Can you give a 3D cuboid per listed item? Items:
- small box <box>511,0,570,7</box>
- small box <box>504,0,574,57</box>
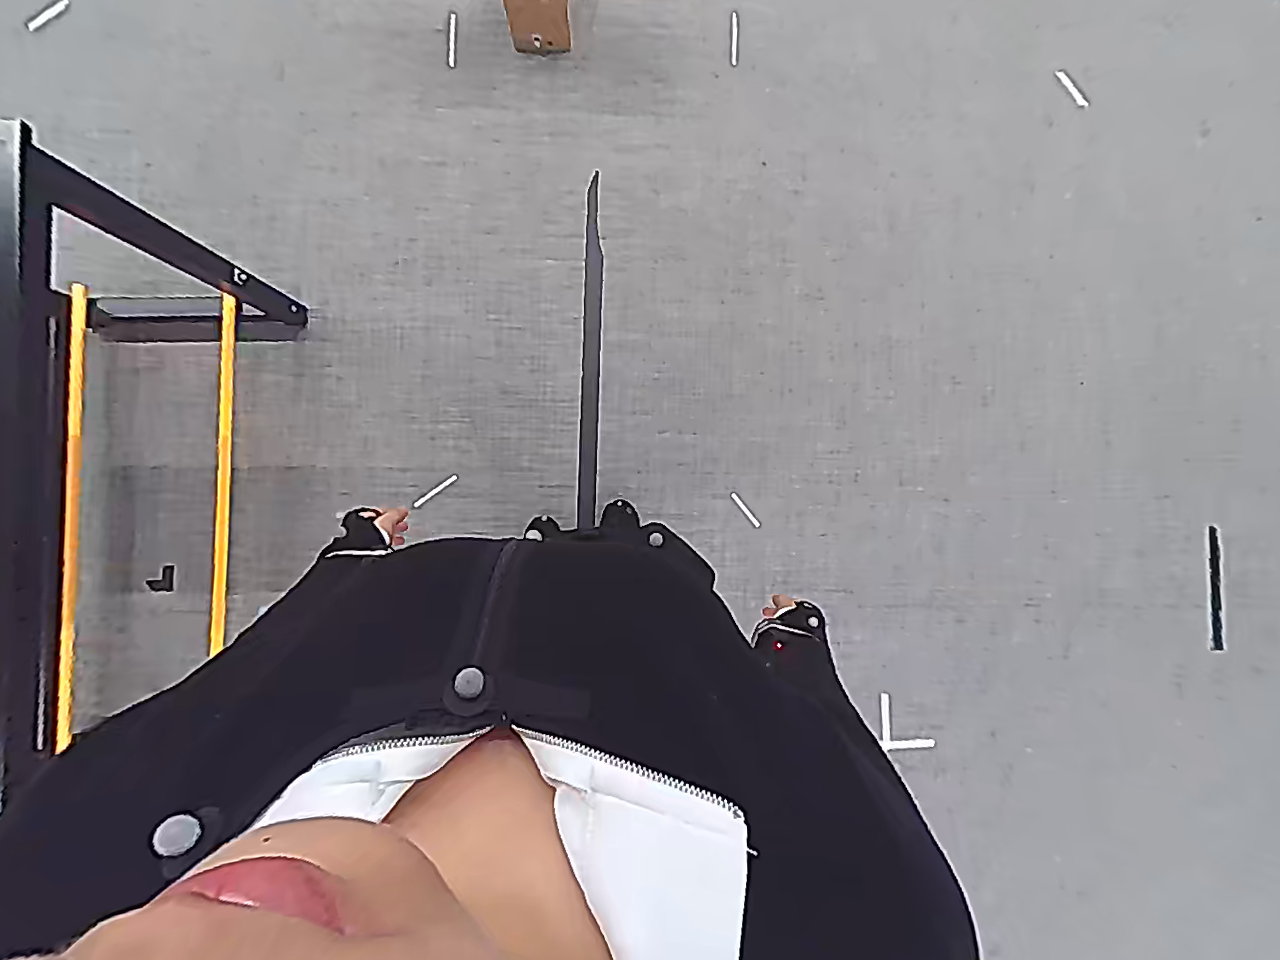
[{"bbox_3d":[-0.256,-1.280,1.289,0.168,0.176,0.179,-1,89,-2],"label":"small box"},{"bbox_3d":[-0.267,-1.292,1.453,0.168,0.176,0.179,-1,89,-2],"label":"small box"}]
